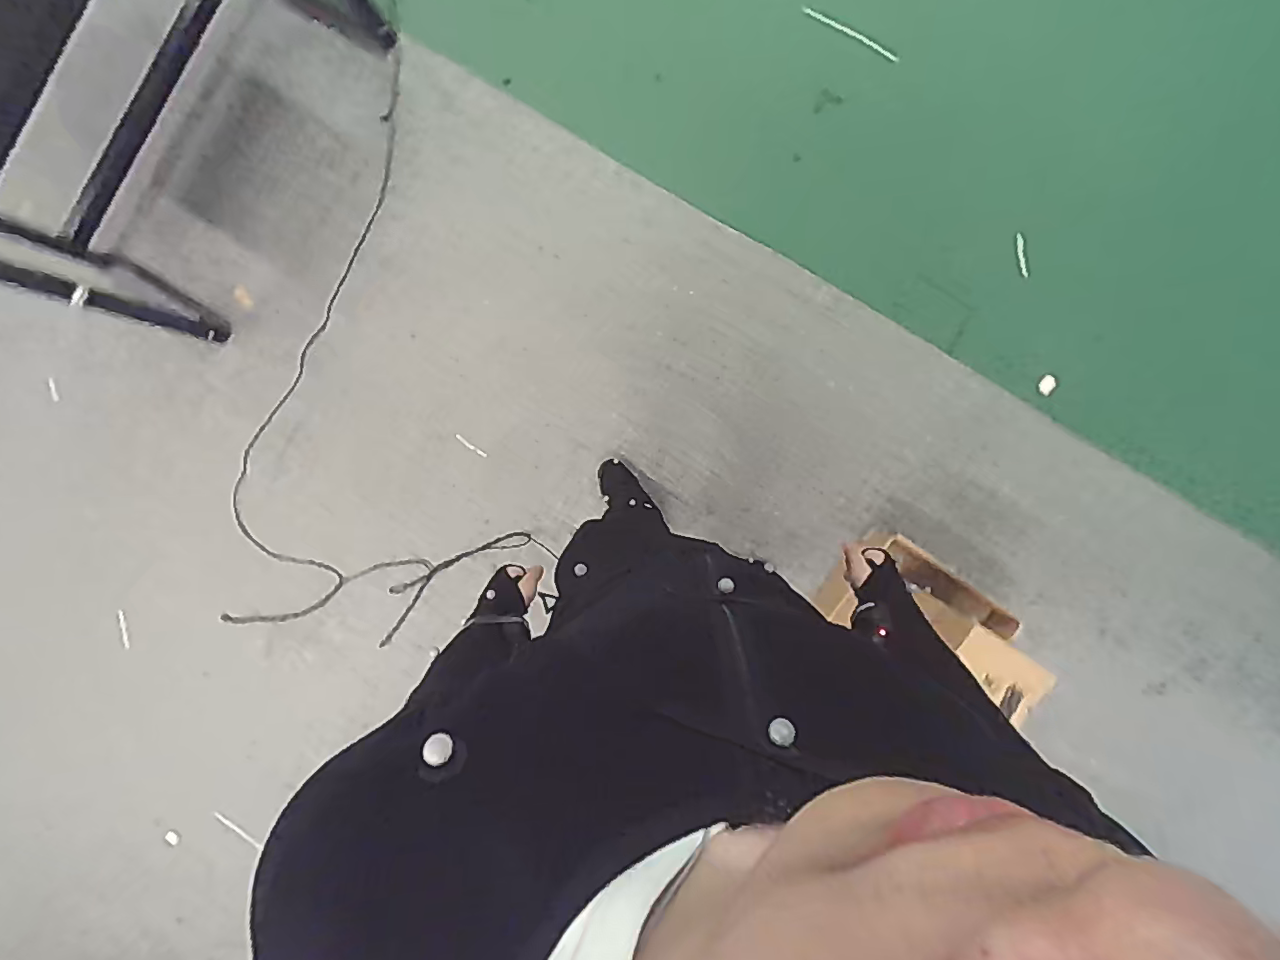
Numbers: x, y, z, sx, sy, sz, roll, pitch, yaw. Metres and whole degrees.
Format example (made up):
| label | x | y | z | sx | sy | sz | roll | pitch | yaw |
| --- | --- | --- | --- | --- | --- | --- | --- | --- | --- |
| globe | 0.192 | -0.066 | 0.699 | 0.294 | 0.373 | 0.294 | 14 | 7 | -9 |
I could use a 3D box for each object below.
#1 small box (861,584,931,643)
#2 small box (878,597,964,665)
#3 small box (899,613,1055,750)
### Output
| label | x | y | z | sx | sy | sz | roll | pitch | yaw |
| --- | --- | --- | --- | --- | --- | --- | --- | --- | --- |
| small box | 0.715 | 0.391 | 1.422 | 0.179 | 0.176 | 0.168 | 35 | 94 | 6 |
| small box | 0.692 | 0.393 | 1.263 | 0.179 | 0.176 | 0.168 | 34 | 94 | 6 |
| small box | 0.670 | 0.396 | 1.100 | 0.179 | 0.176 | 0.168 | 35 | 94 | 7 |
